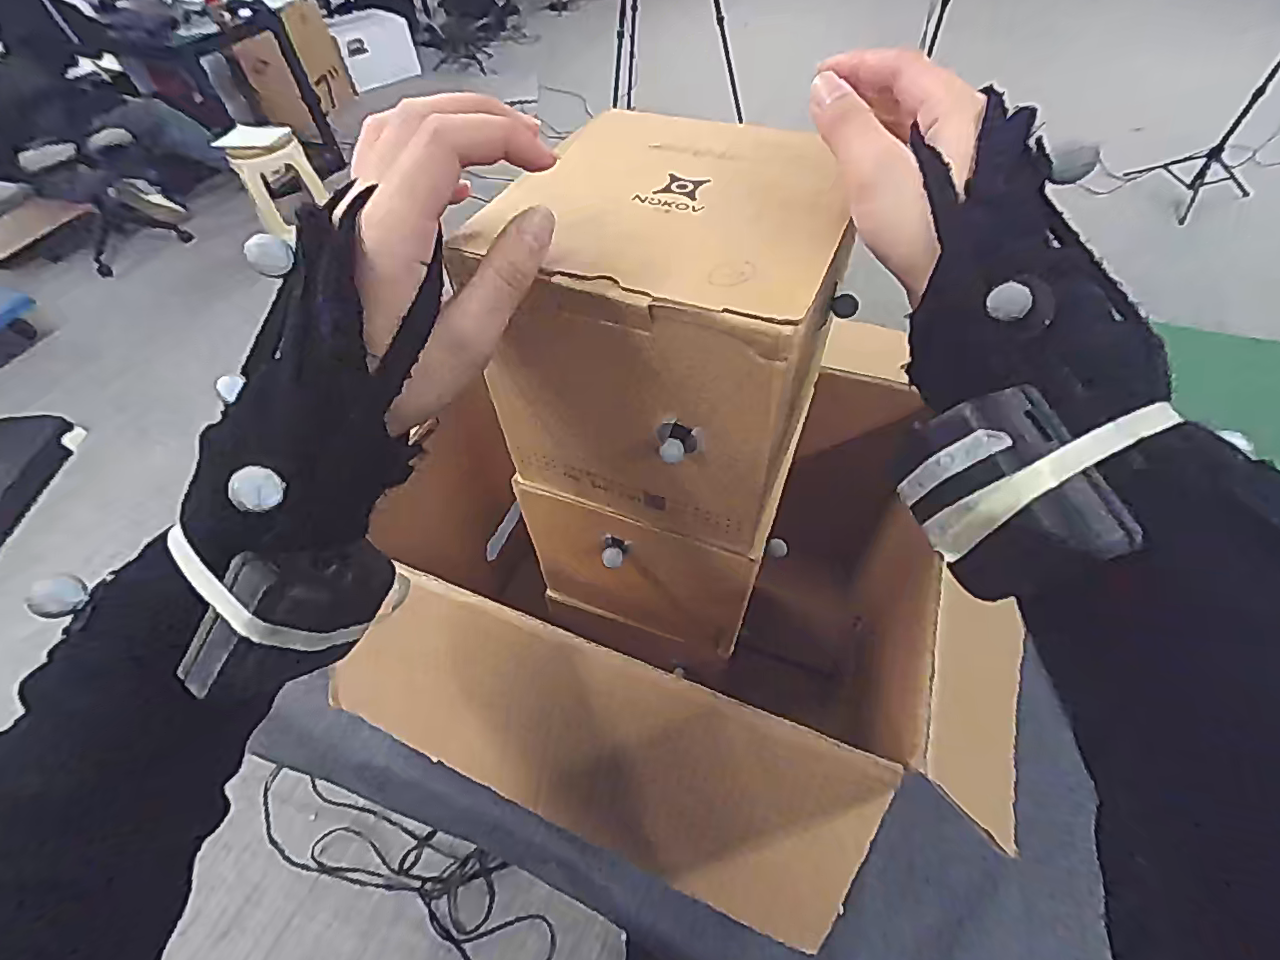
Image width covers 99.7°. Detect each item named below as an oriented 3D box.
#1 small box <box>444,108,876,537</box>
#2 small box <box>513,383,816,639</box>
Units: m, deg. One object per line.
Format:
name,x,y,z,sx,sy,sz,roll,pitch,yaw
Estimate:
small box,0.022,-0.093,0.328,0.168,0.176,0.179,18,54,15
small box,0.026,0.012,0.451,0.179,0.176,0.168,17,55,15
